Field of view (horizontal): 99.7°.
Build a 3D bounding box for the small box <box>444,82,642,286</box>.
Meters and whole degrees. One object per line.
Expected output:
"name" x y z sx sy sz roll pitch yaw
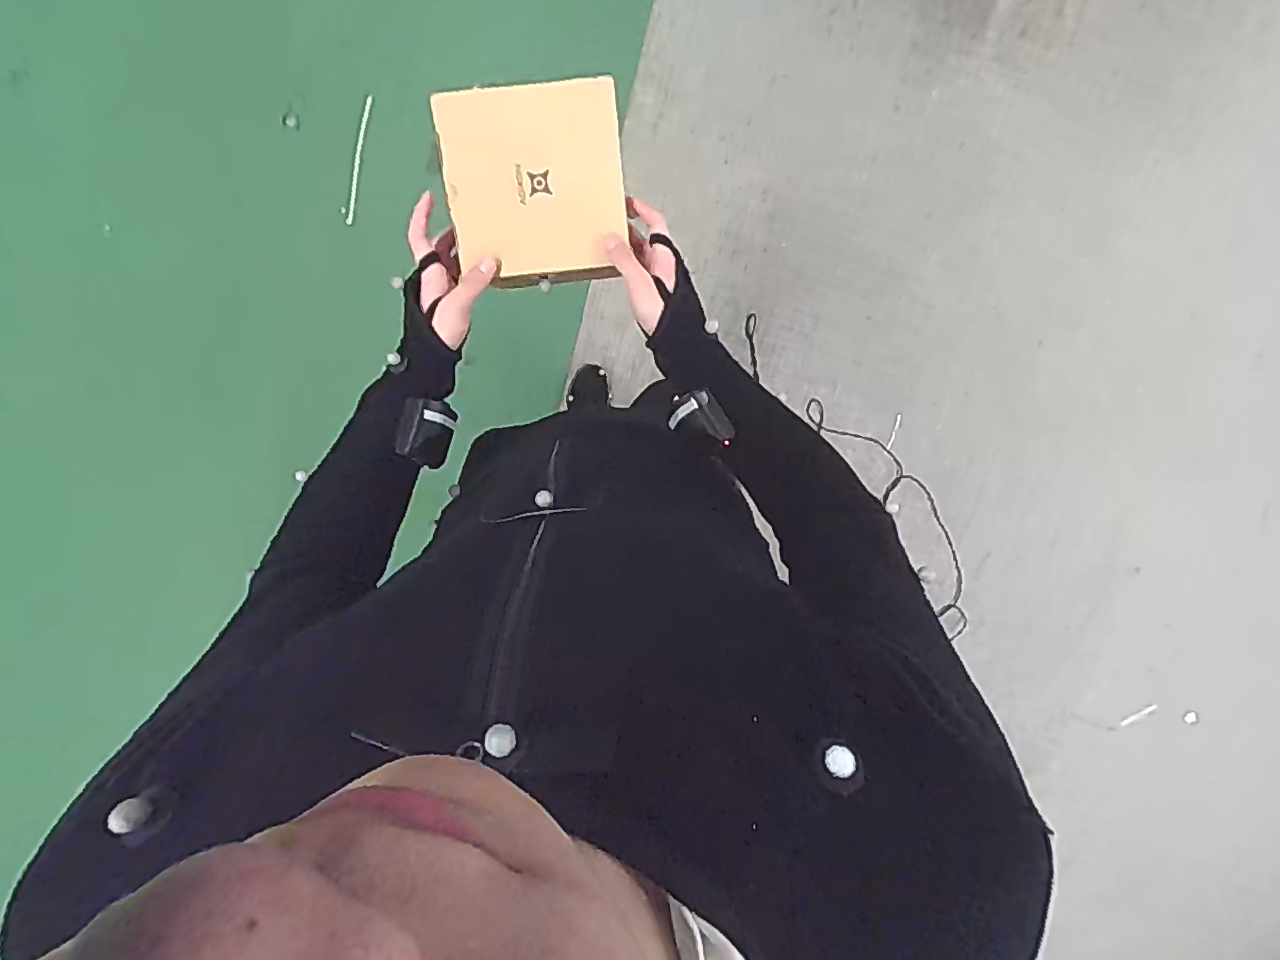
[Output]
"small box" -0.094 -0.311 0.601 0.179 0.176 0.168 -5 107 0
